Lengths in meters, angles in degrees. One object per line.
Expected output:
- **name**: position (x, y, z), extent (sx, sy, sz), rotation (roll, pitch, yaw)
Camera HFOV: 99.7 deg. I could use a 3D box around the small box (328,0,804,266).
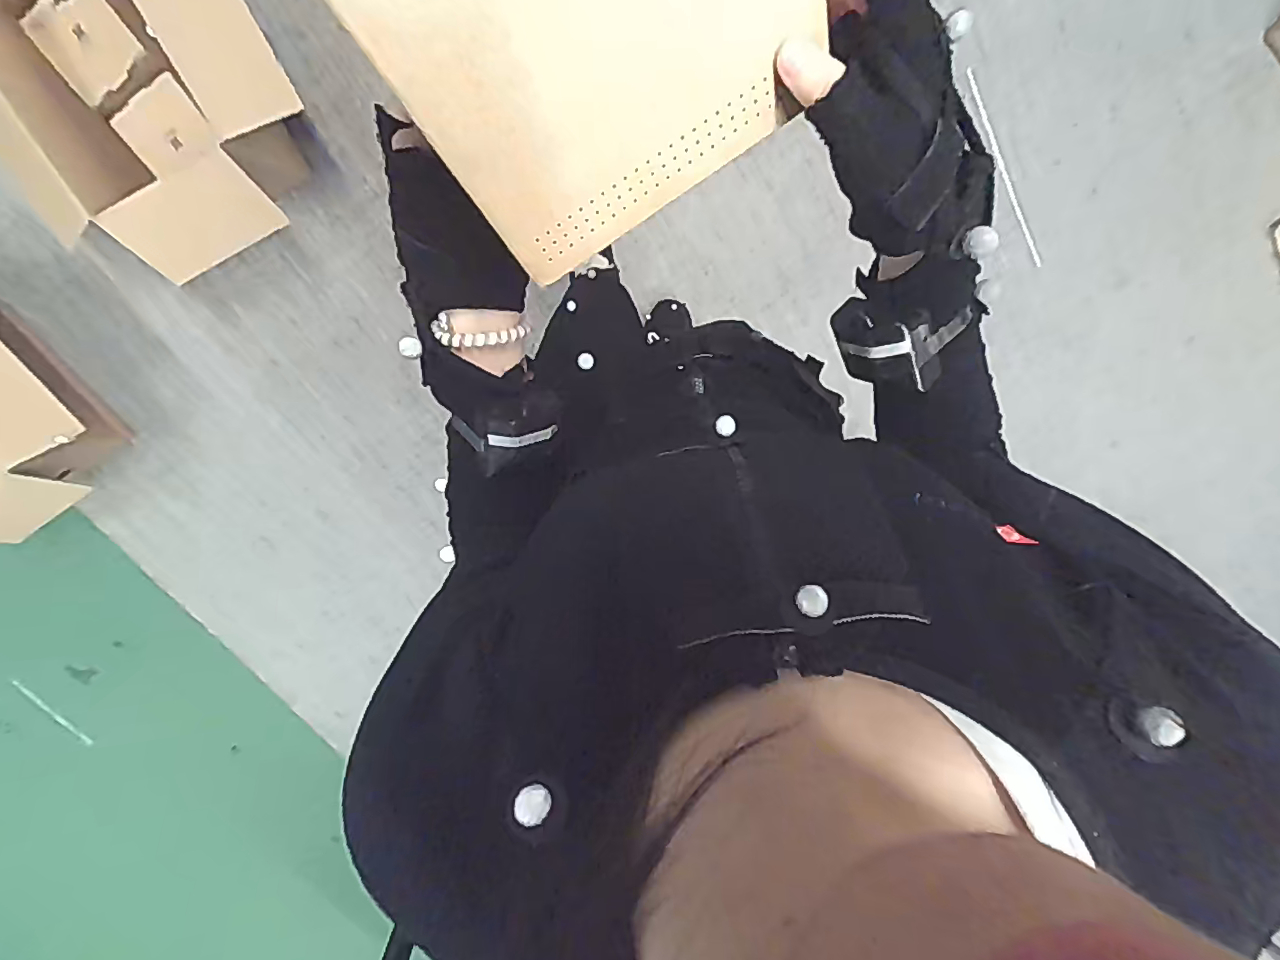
- **small box**: position (-0.044, -0.242, 0.254), extent (0.179, 0.168, 0.176), rotation (-32, 150, 6)
